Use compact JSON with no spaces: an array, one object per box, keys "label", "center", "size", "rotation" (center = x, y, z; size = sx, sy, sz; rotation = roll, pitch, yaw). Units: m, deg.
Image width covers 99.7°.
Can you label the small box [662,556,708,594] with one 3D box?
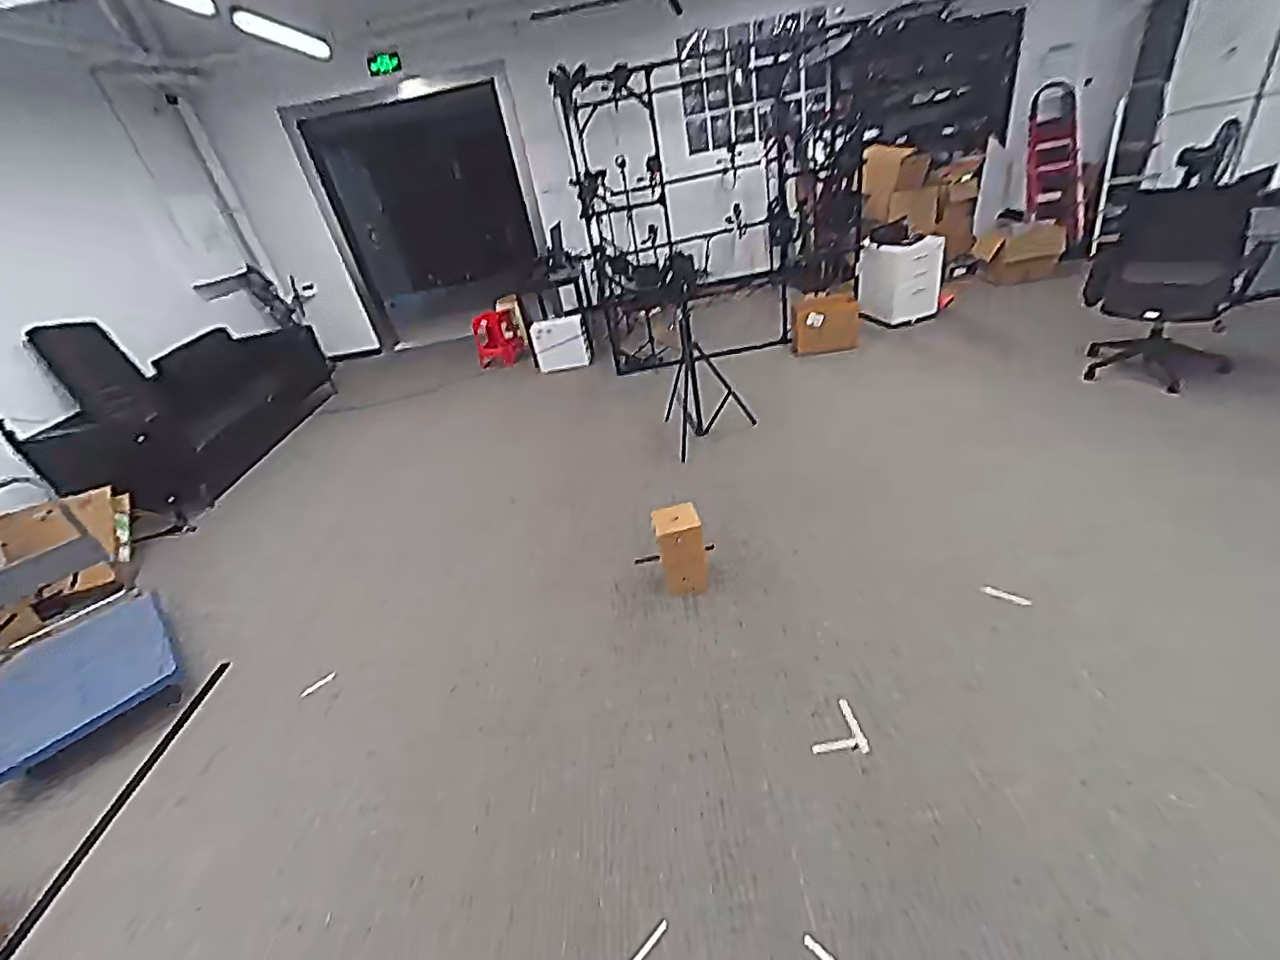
[{"label":"small box","center":[0.183,0.358,2.235],"size":[0.168,0.176,0.179],"rotation":[-9,30,5]}]

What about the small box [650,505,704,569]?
[{"label":"small box","center":[0.149,0.227,2.144],"size":[0.179,0.176,0.168],"rotation":[-14,31,-2]}]
